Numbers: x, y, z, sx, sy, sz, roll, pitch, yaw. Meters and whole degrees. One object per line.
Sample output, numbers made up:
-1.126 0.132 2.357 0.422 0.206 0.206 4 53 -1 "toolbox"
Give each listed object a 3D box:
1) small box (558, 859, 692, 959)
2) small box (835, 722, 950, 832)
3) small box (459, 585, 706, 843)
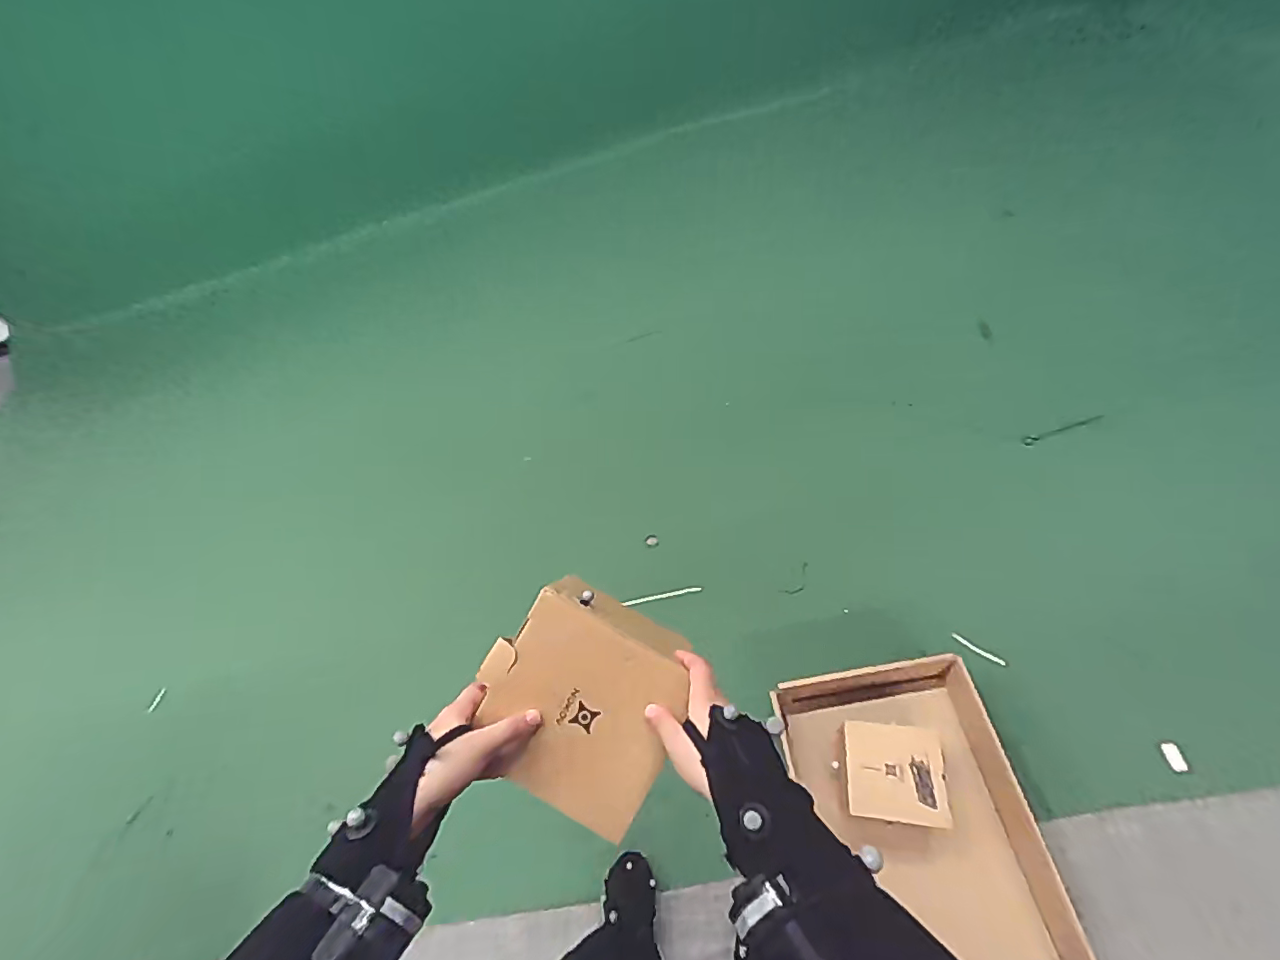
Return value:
-0.022 0.883 1.049 0.179 0.168 0.176 -27 77 -41 "small box"
0.494 0.593 1.084 0.179 0.176 0.168 0 59 14 "small box"
-0.051 0.223 0.572 0.179 0.176 0.168 27 85 3 "small box"
